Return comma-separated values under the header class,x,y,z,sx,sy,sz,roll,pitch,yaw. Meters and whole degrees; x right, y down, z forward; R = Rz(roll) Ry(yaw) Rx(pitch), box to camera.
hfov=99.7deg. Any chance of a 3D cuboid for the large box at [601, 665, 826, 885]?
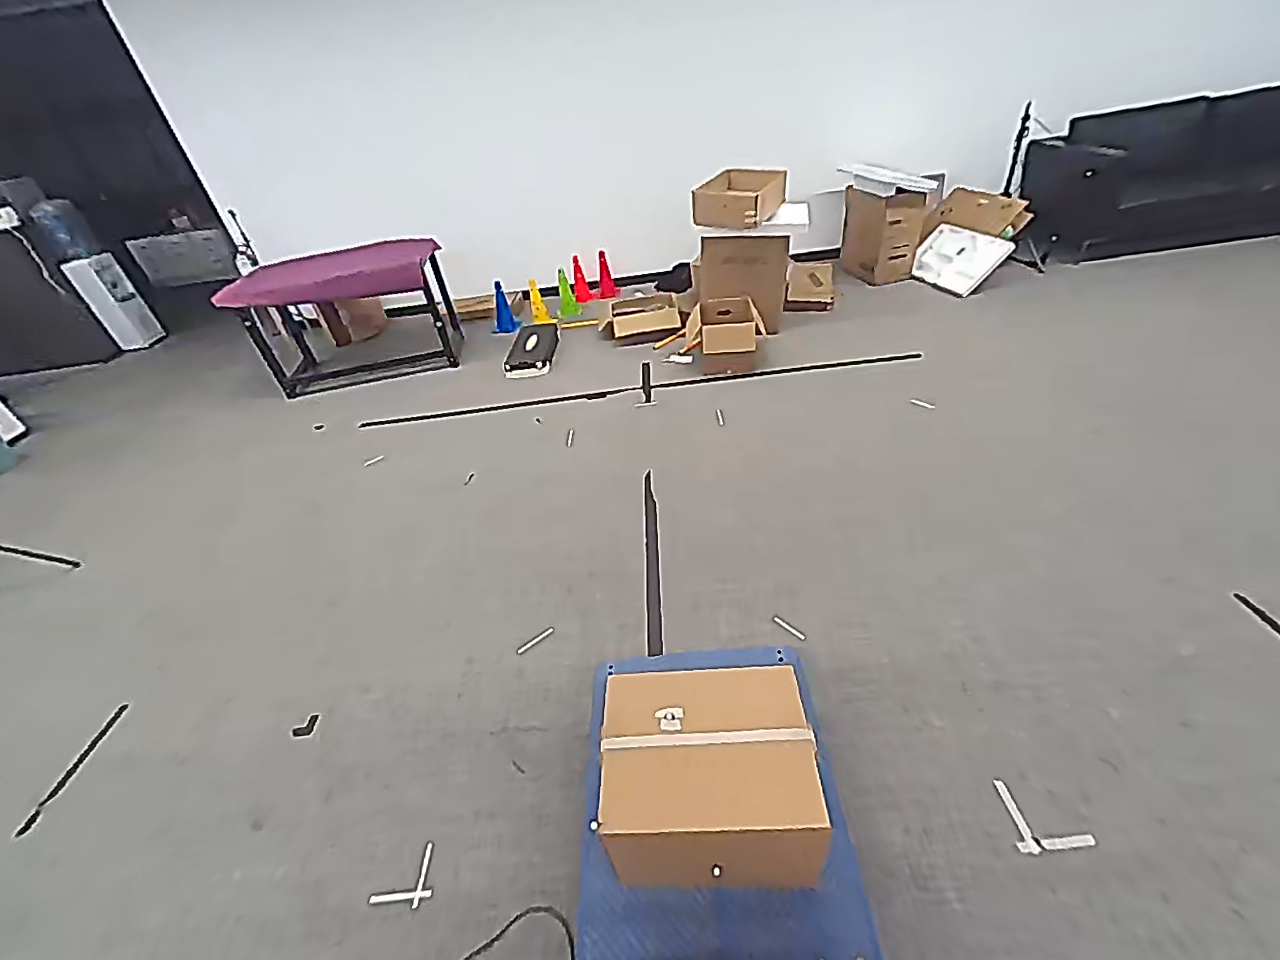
class,x,y,z,sx,sy,sz,roll,pitch,yaw
large box,0.148,0.631,1.156,0.408,0.320,0.320,-6,37,5
